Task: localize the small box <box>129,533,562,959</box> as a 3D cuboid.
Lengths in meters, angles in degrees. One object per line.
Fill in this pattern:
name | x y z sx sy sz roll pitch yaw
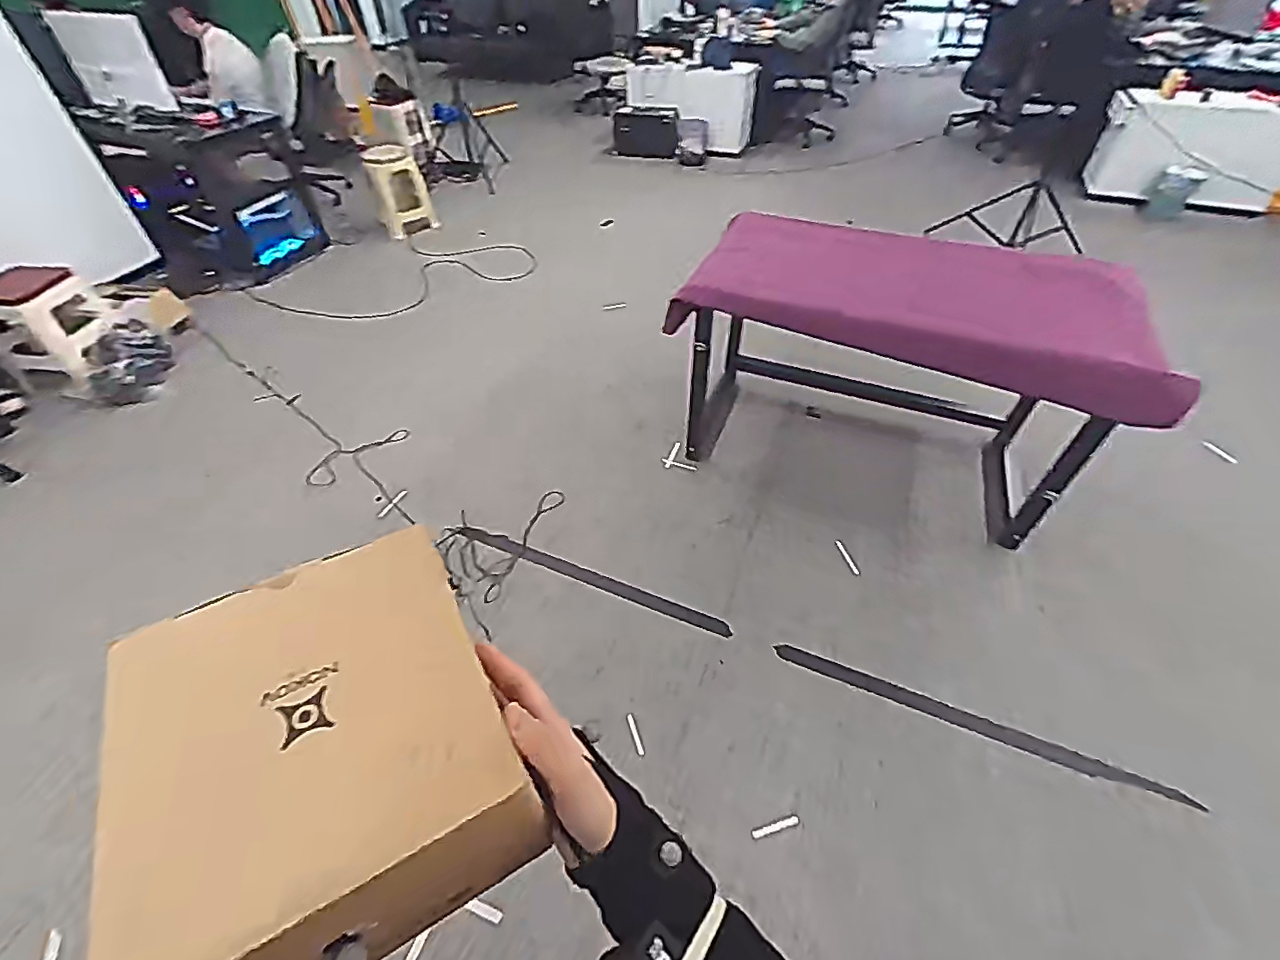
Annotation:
small box | -0.157 0.171 0.330 0.168 0.176 0.179 -22 51 -21
